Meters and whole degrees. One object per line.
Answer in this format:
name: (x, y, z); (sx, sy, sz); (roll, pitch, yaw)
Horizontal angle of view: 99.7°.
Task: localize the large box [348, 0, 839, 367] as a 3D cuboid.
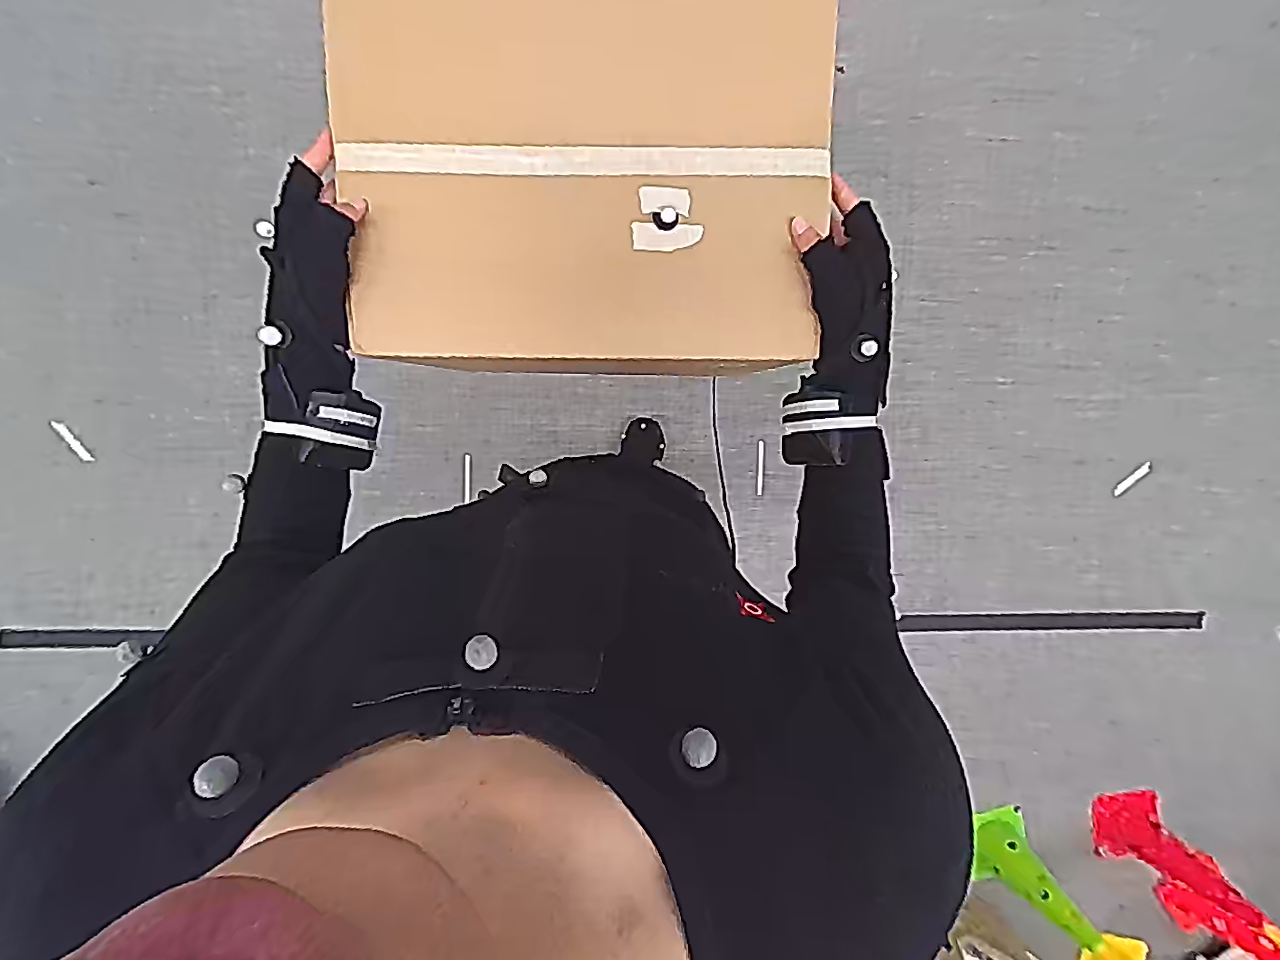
large box: (-0.041, -0.293, 0.600); (0.408, 0.320, 0.320); (0, 100, -2)
